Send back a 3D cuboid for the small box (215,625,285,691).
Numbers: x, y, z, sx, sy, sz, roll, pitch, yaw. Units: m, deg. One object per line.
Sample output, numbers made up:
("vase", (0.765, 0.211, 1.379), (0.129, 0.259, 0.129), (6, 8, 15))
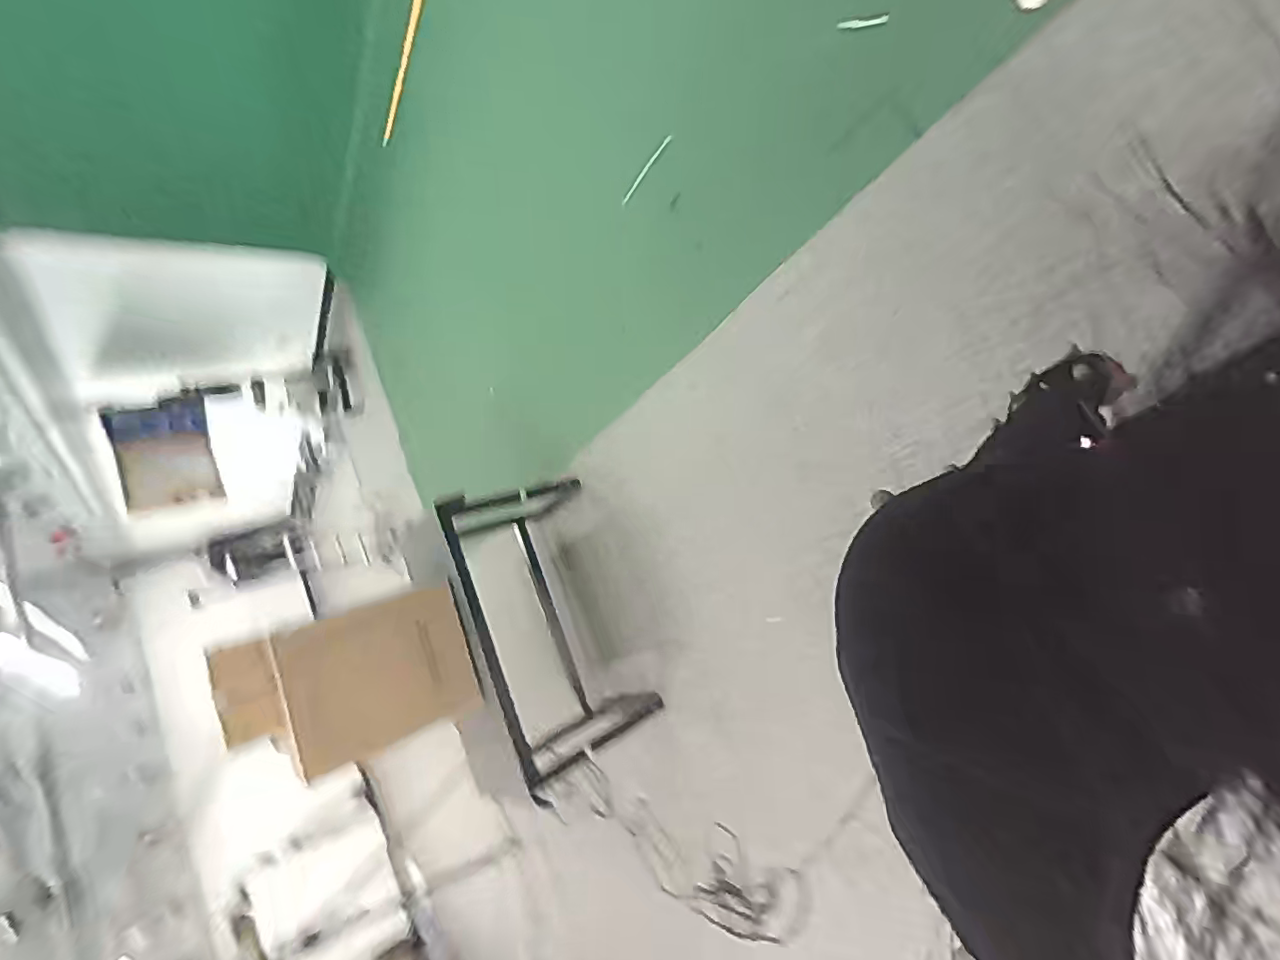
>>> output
("small box", (-1.333, 0.606, 1.853), (0.179, 0.176, 0.168), (-25, 81, 49))
